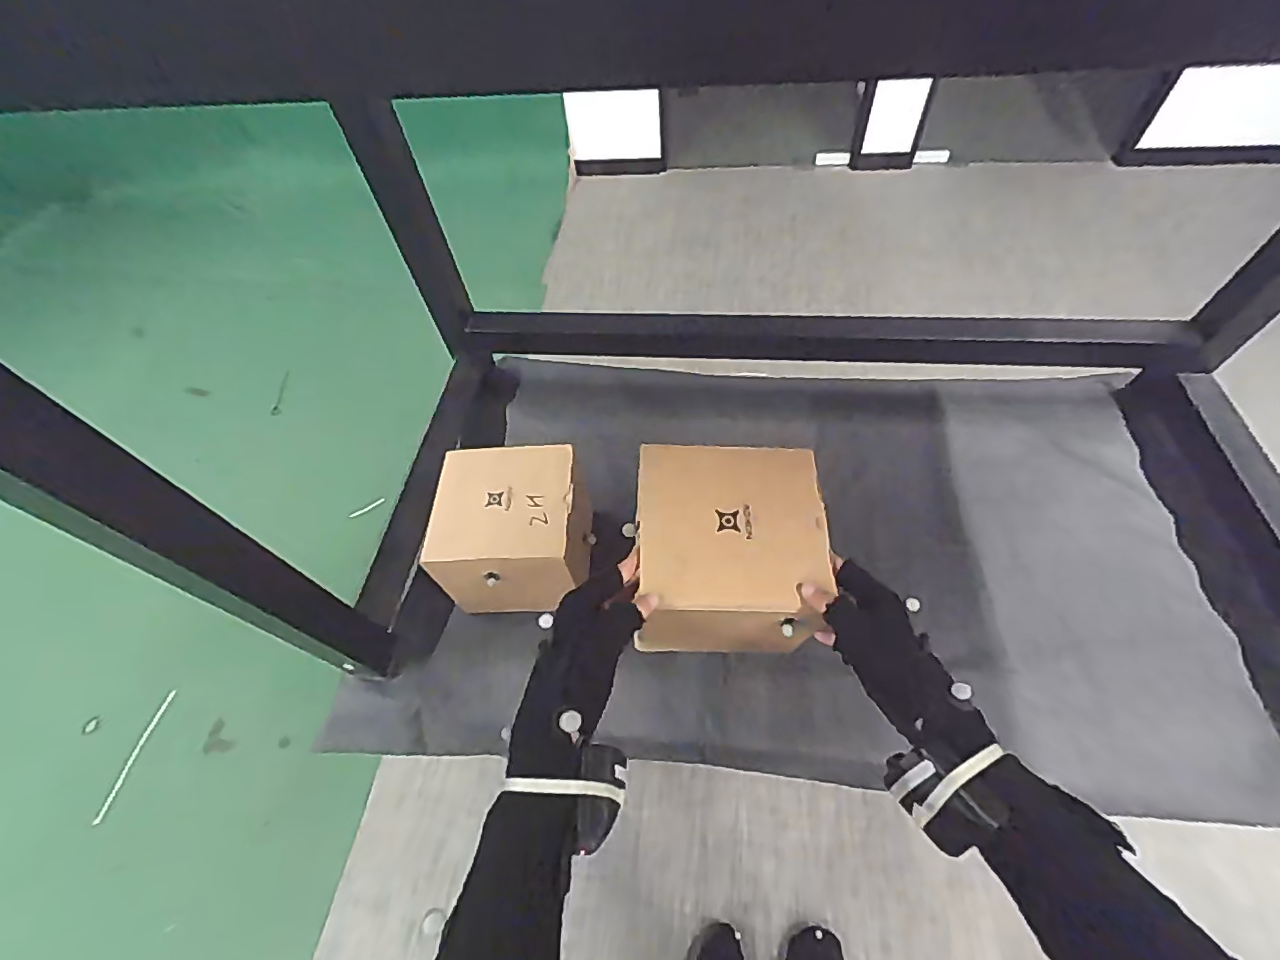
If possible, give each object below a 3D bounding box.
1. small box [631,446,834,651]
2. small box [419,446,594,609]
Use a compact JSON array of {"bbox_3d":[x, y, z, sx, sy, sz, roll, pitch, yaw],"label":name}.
[{"bbox_3d":[0.080,0.079,0.566,0.179,0.176,0.168,2,62,-1],"label":"small box"},{"bbox_3d":[-0.165,0.070,0.734,0.179,0.176,0.168,-2,57,4],"label":"small box"}]
